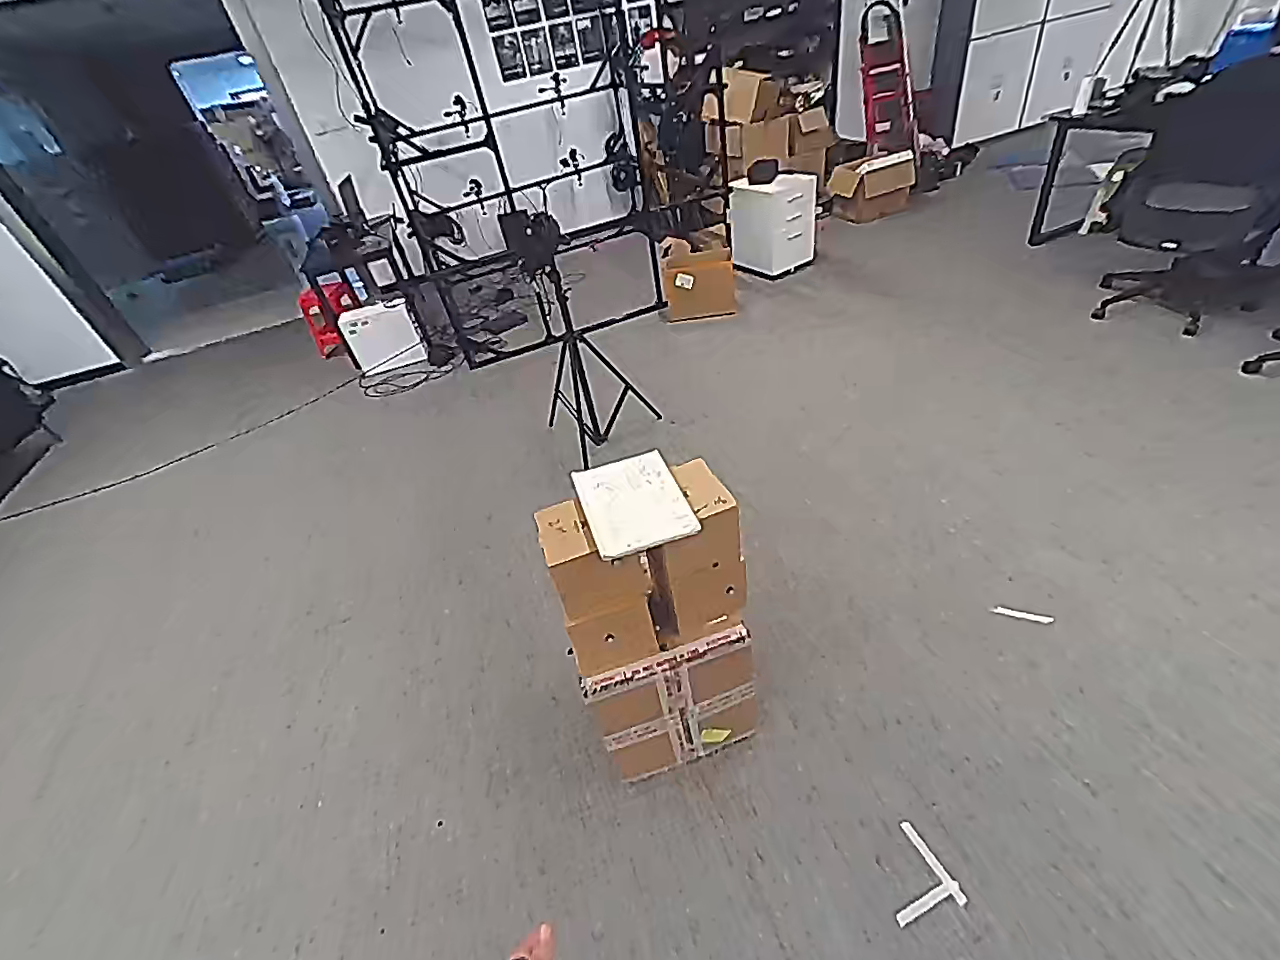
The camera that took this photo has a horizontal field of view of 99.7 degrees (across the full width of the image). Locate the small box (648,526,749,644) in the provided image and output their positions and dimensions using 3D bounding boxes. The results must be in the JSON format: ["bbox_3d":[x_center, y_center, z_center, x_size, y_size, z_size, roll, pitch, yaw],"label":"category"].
[{"bbox_3d":[0.134,0.243,1.244,0.179,0.176,0.168,-21,41,-11],"label":"small box"}]

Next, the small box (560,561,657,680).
[{"bbox_3d":[-0.066,0.315,1.209,0.179,0.176,0.168,-17,41,-4],"label":"small box"}]
